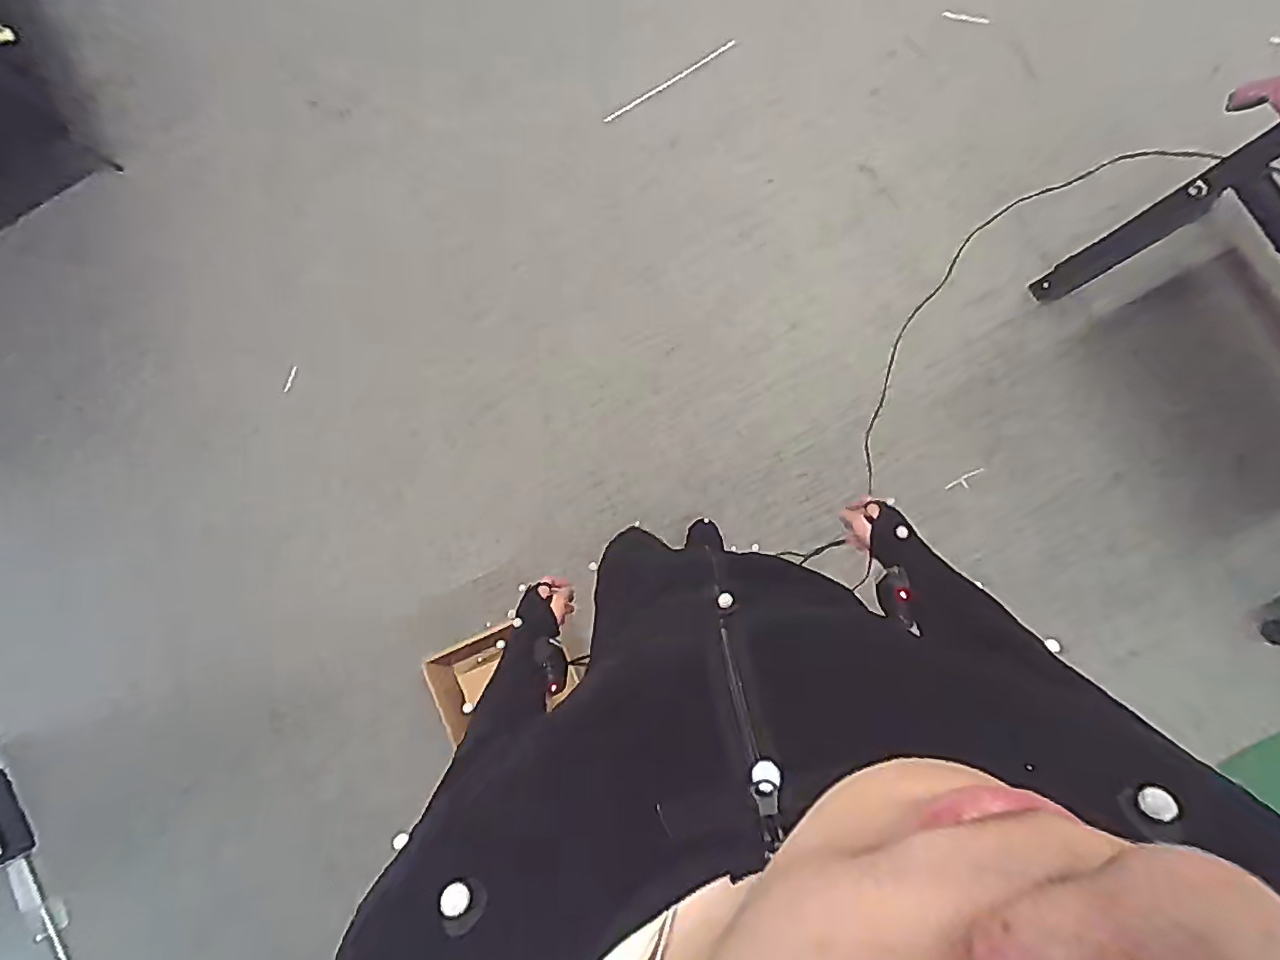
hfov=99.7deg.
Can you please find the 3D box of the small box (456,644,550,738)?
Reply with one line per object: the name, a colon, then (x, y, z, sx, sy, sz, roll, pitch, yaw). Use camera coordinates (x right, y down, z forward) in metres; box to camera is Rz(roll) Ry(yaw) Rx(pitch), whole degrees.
small box: (-0.376, 0.584, 1.514, 0.179, 0.176, 0.168, -25, 86, 3)
